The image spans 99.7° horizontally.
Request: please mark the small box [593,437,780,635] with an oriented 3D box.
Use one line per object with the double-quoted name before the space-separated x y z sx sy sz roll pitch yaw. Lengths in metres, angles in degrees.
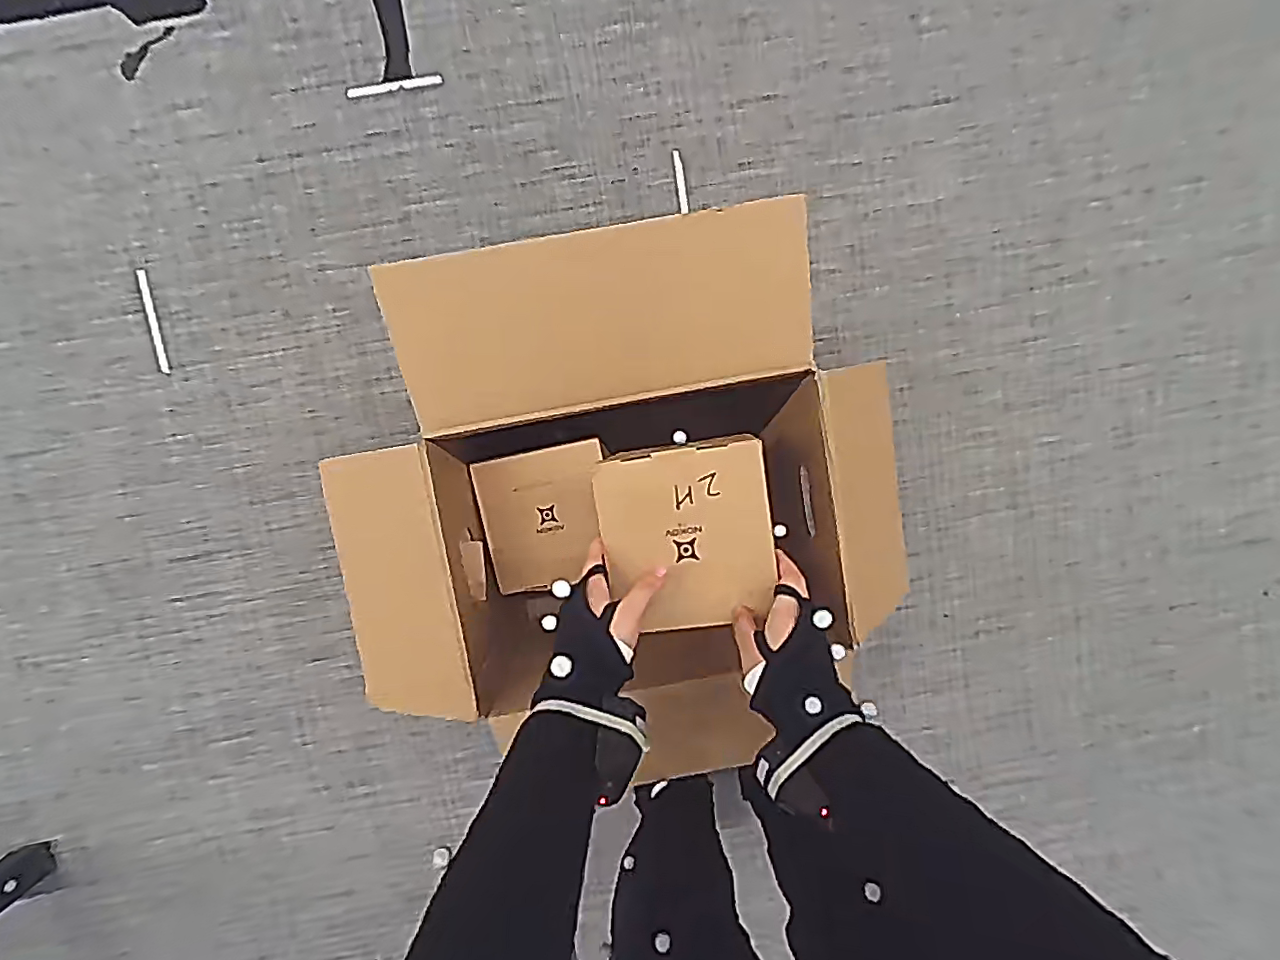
"small box" 0.057 0.052 0.601 0.168 0.176 0.179 -8 95 9
